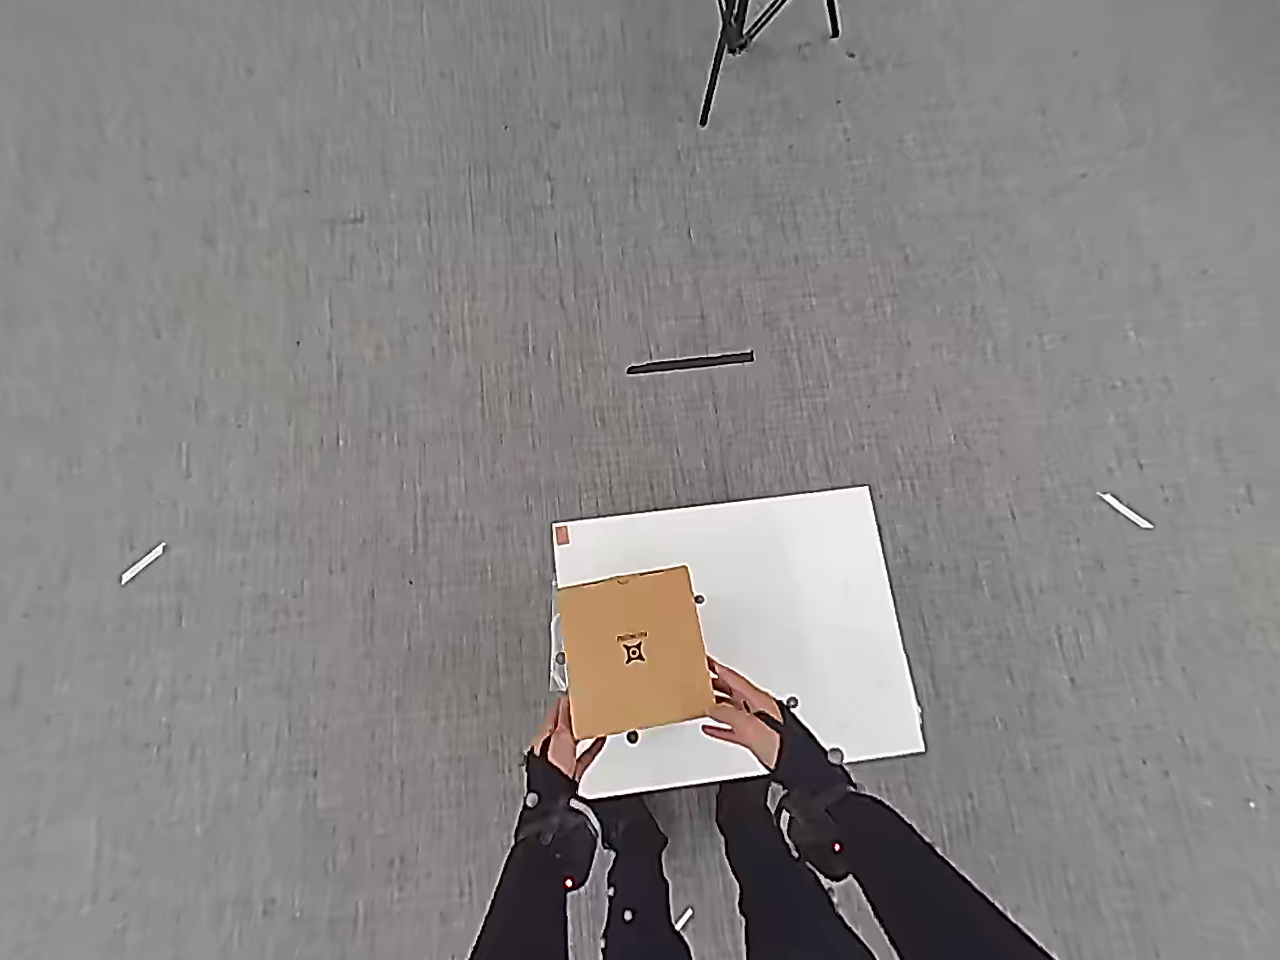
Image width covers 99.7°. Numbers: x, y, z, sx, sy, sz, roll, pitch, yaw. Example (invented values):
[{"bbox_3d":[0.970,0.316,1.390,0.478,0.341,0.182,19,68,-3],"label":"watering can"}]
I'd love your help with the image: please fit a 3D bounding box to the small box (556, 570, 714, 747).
[{"bbox_3d":[-0.004,0.232,0.703,0.168,0.176,0.179,-11,66,-1],"label":"small box"}]
